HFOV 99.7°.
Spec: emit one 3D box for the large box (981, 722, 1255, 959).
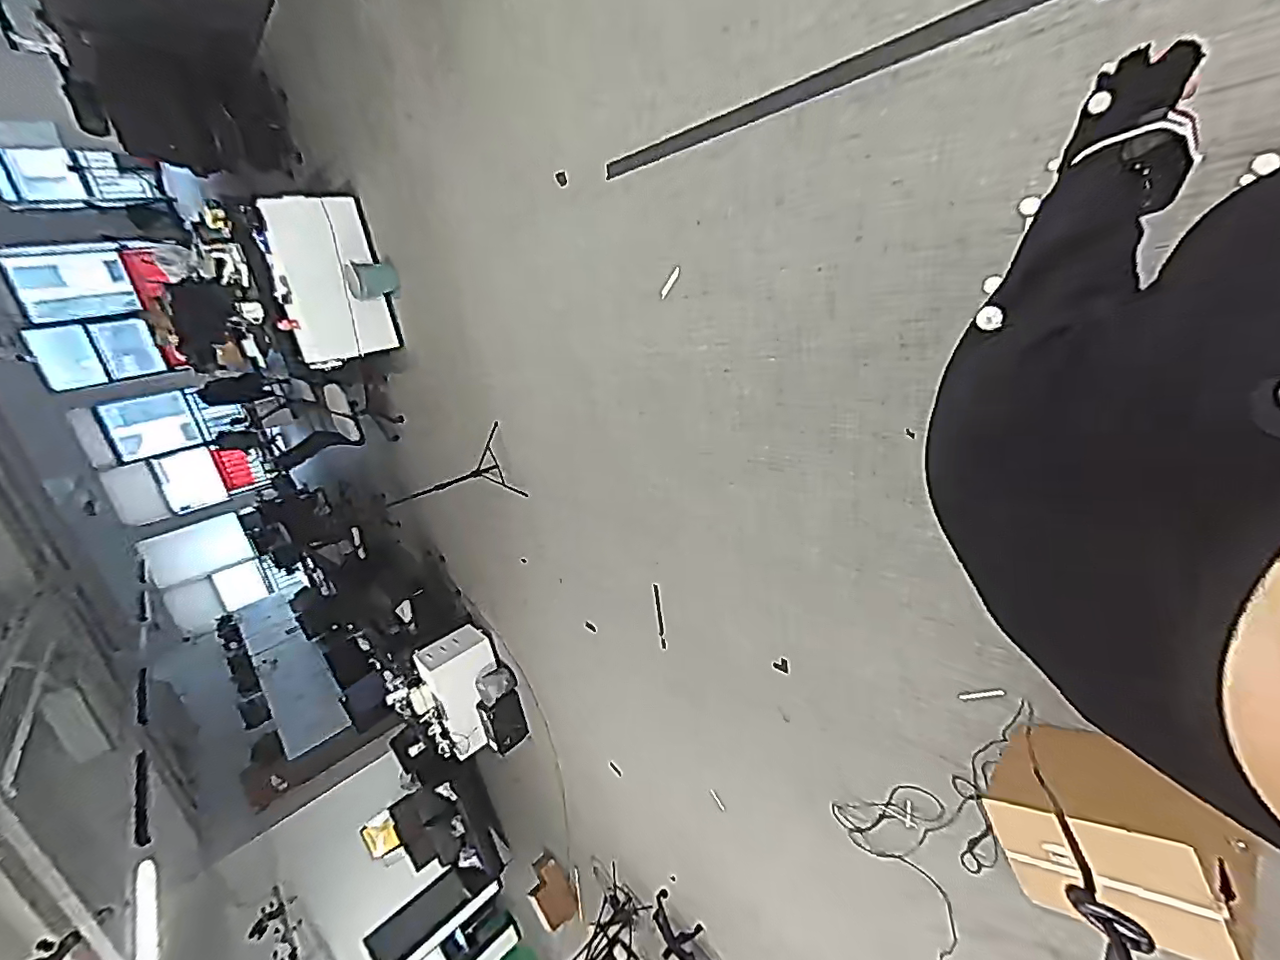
[{"bbox_3d":[1.157,0.842,1.327,0.408,0.320,0.320,-22,93,54],"label":"large box"}]
